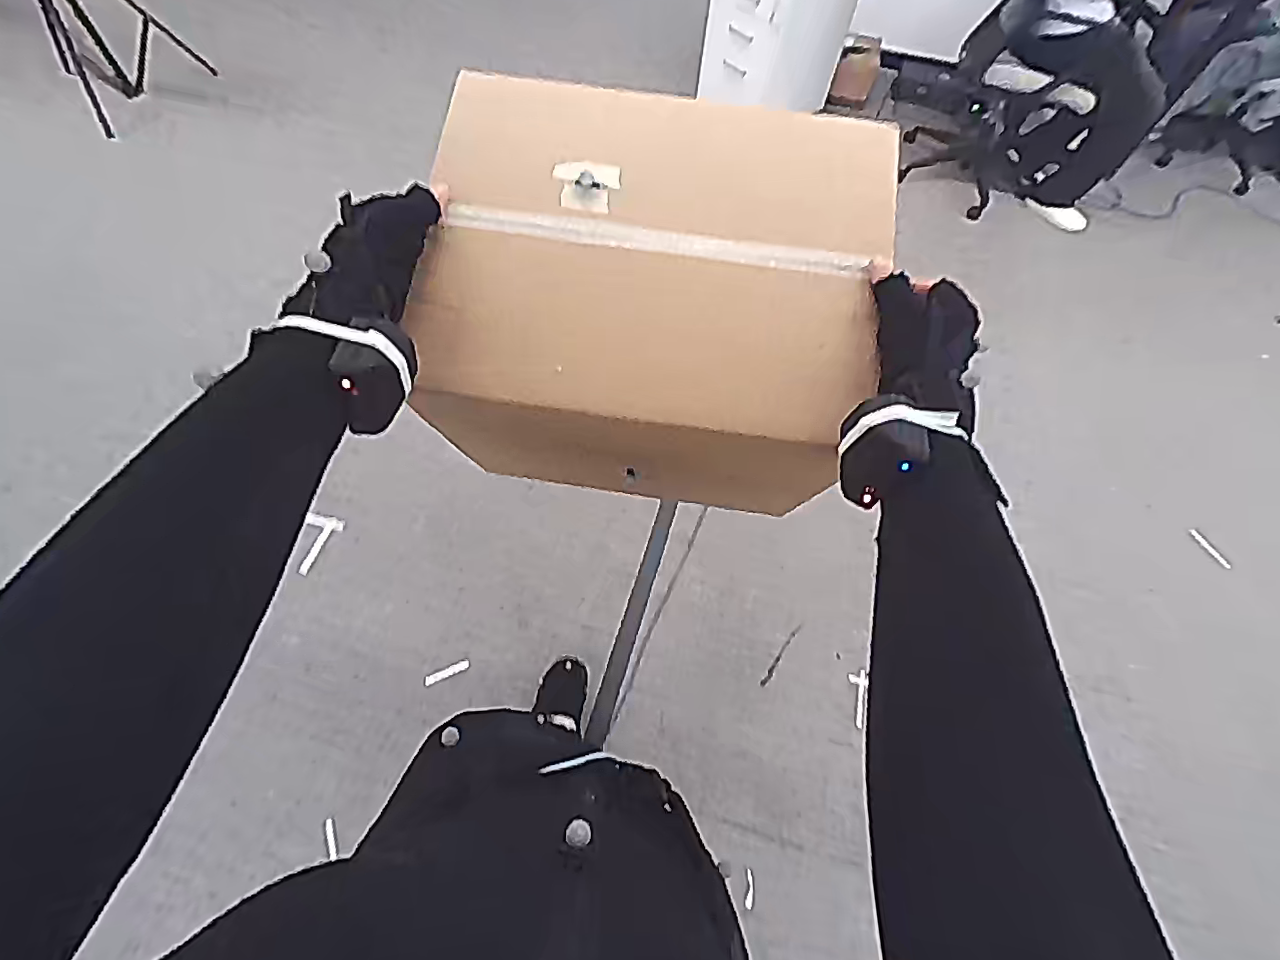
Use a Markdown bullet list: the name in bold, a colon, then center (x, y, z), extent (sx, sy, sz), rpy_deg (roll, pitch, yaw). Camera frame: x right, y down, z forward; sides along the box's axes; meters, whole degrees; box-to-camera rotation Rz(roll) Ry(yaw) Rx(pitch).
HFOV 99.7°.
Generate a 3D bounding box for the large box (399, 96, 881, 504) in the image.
- **large box**: center (0.014, -0.168, 0.628), extent (0.408, 0.320, 0.320), rpy_deg (8, 76, 3)
